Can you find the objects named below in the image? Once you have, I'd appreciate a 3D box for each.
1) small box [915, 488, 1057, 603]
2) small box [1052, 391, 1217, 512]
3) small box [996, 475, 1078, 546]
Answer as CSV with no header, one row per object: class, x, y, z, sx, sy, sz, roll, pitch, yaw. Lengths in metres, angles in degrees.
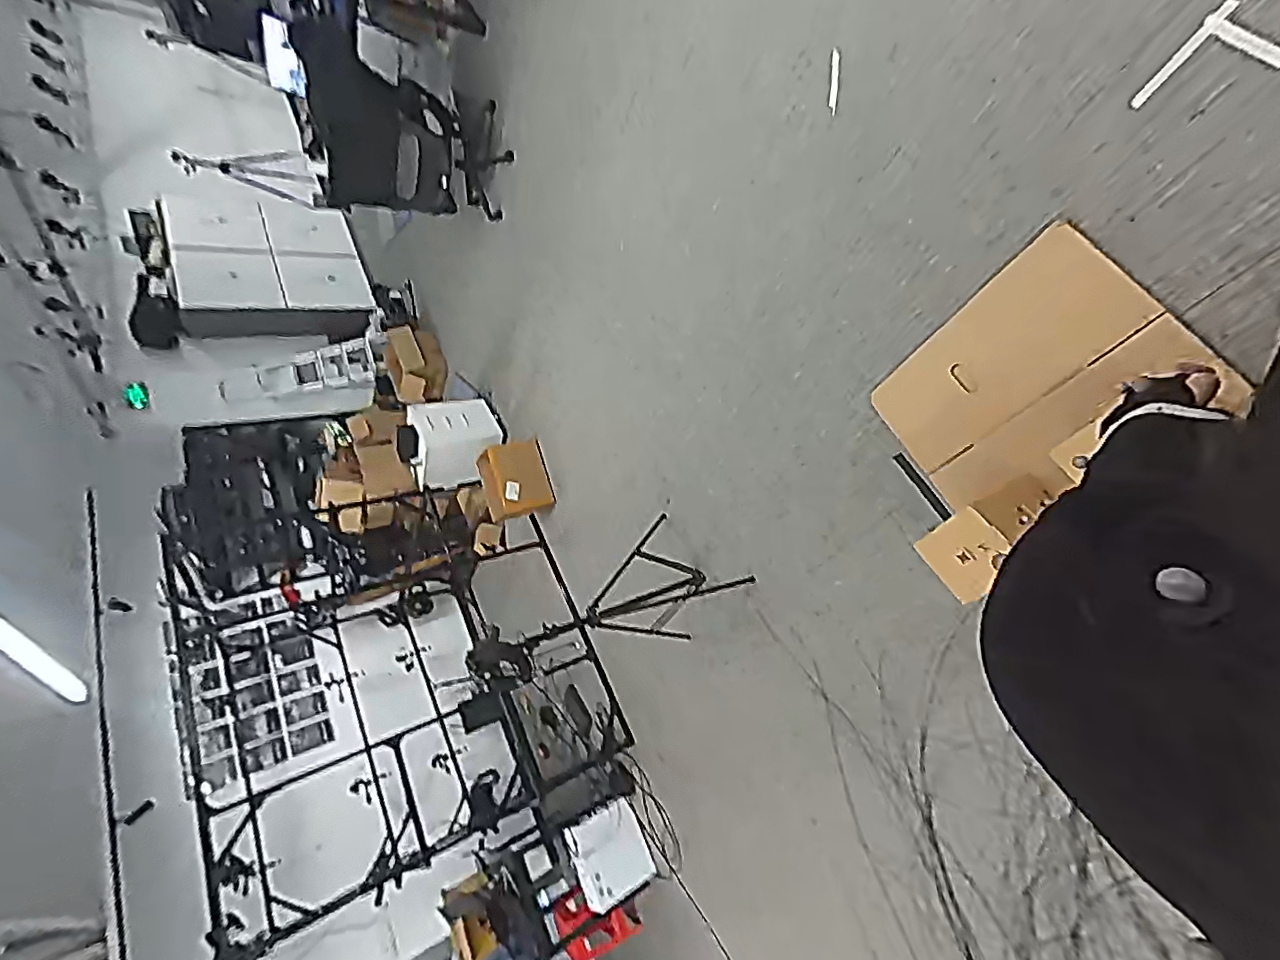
small box,0.769,0.143,1.203,0.168,0.176,0.179,57,141,25
small box,1.003,-0.062,1.095,0.168,0.176,0.179,60,143,24
small box,0.900,0.108,1.297,0.168,0.176,0.179,57,140,27
